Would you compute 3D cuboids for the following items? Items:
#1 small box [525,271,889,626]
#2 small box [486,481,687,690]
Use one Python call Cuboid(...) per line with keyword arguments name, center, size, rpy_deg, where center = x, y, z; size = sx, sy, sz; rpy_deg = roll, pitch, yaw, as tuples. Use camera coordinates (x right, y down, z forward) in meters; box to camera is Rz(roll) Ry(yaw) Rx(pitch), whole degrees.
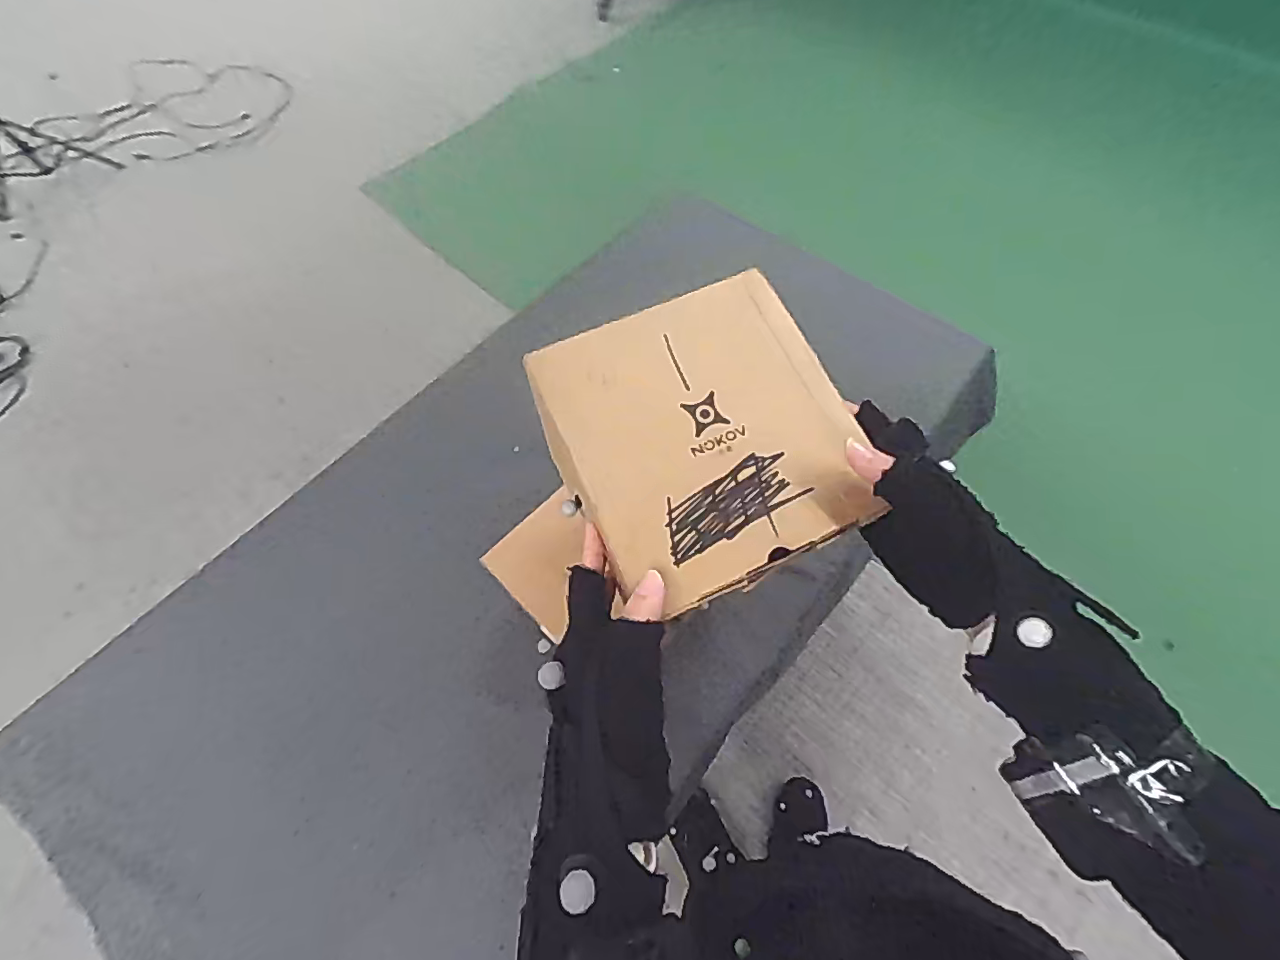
Cuboid(name="small box", center=(0.035, -0.009, 0.401), size=(0.168, 0.176, 0.179), rpy_deg=(-26, 78, -10))
Cuboid(name="small box", center=(-0.033, 0.103, 0.595), size=(0.168, 0.176, 0.179), rpy_deg=(39, 71, 20))
